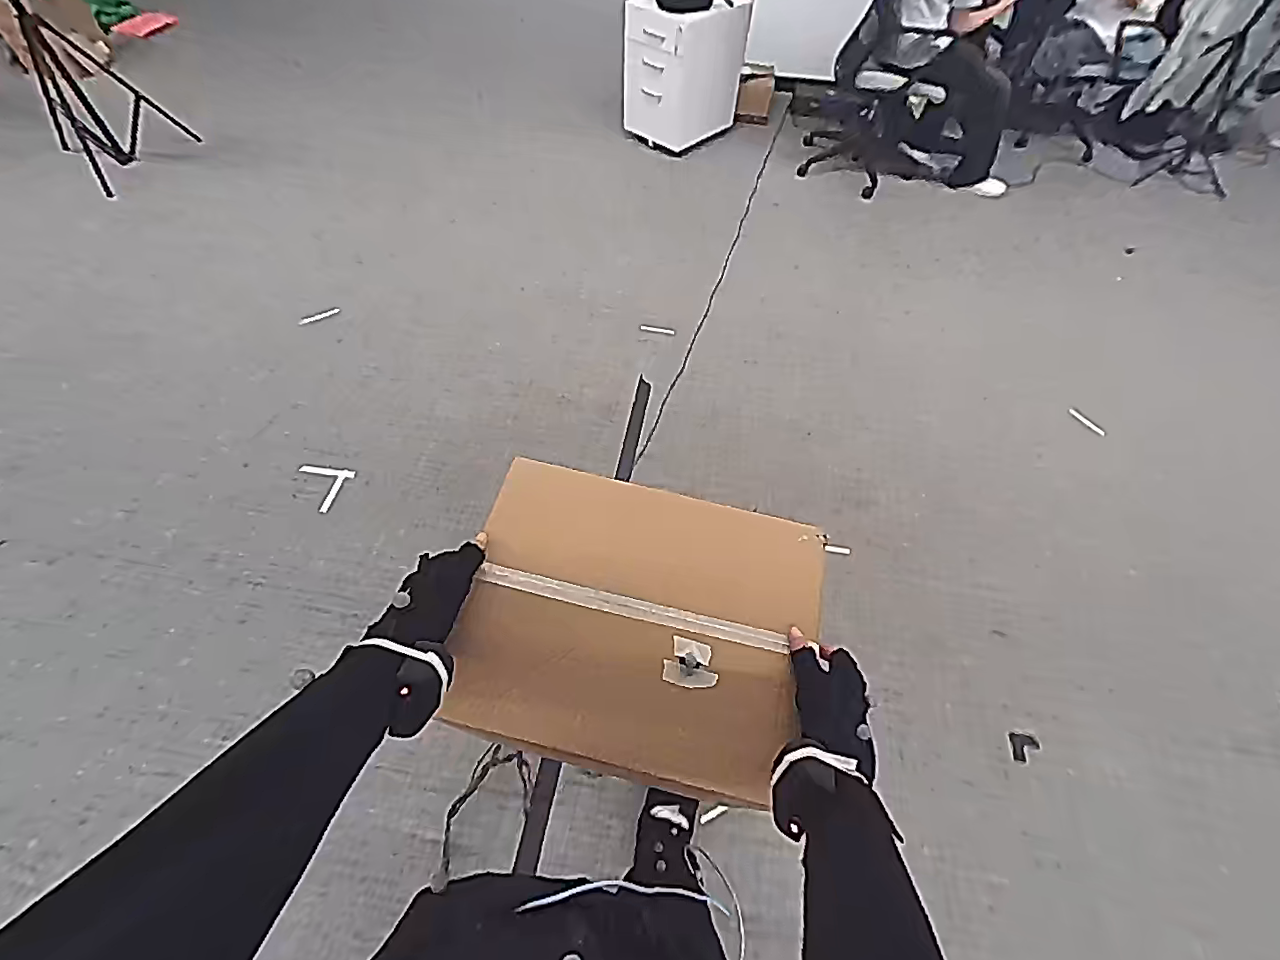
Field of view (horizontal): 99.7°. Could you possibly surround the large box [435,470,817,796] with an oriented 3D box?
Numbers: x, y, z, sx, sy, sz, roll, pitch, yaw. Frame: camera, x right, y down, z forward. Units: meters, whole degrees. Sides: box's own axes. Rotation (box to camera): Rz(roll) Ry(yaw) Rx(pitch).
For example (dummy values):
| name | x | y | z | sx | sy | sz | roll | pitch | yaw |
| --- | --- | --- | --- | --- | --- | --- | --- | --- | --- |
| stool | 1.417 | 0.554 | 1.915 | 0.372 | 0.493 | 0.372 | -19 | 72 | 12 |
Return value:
| name | x | y | z | sx | sy | sz | roll | pitch | yaw |
| --- | --- | --- | --- | --- | --- | --- | --- | --- | --- |
| large box | -0.008 | 0.227 | 0.761 | 0.408 | 0.320 | 0.320 | 13 | 61 | 2 |
